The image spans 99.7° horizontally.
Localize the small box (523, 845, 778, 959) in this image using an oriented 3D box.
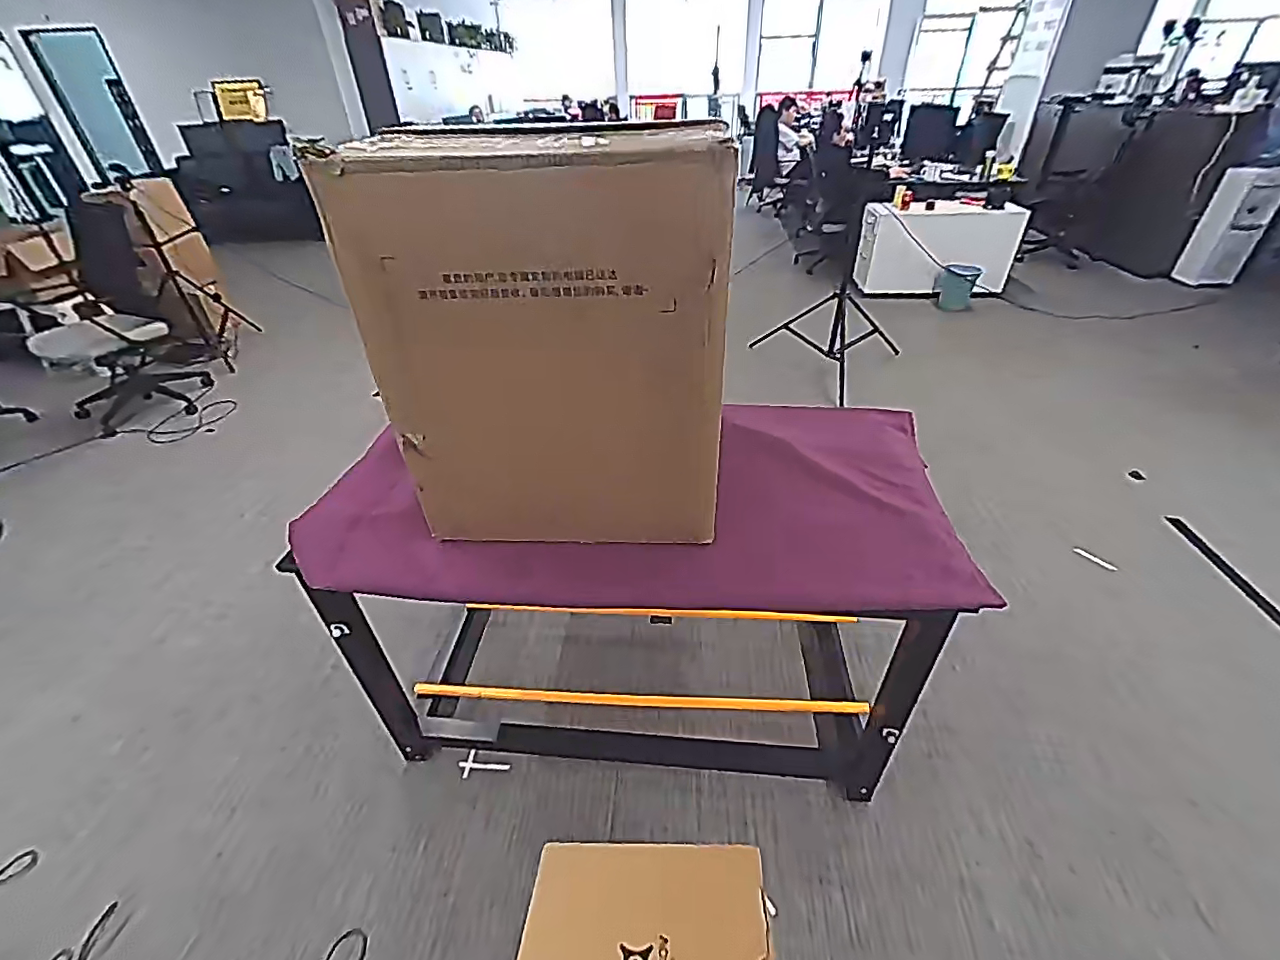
[{"bbox_3d":[0.013,0.400,0.387,0.179,0.176,0.168,-4,21,6],"label":"small box"}]
